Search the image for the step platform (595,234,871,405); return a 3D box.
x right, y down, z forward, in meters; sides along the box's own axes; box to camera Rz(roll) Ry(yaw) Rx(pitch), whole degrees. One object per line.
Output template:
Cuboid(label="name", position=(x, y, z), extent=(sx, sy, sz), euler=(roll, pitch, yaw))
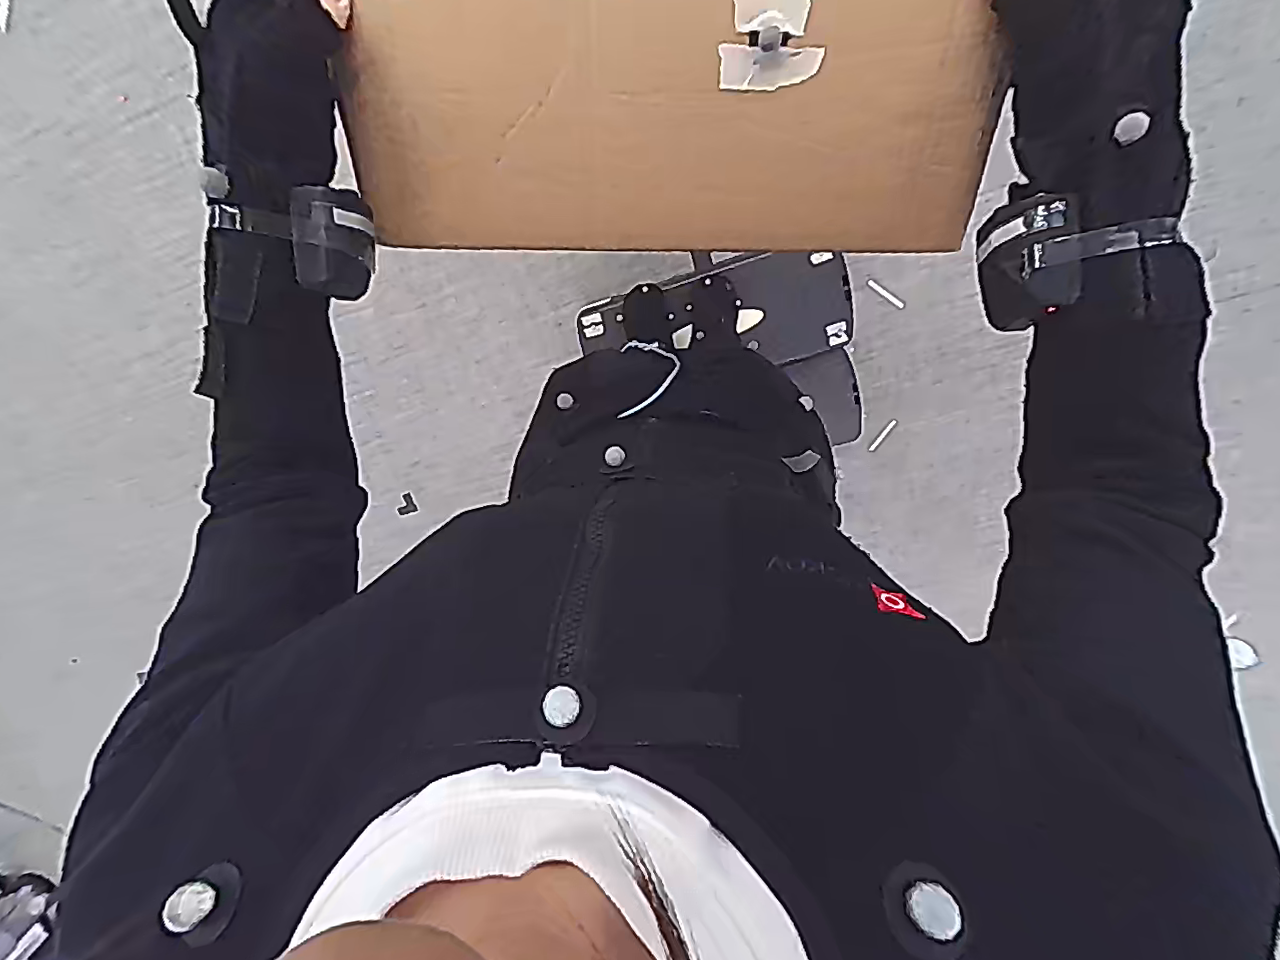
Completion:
Cuboid(label="step platform", position=(0.229, -0.426, 1.408), extent=(0.684, 0.204, 0.286), euler=(-16, 111, 11))

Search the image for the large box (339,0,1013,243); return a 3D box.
Cuboid(label="large box", position=(0.025, -0.380, 0.432), extent=(0.408, 0.320, 0.320), euler=(2, 122, 5))
